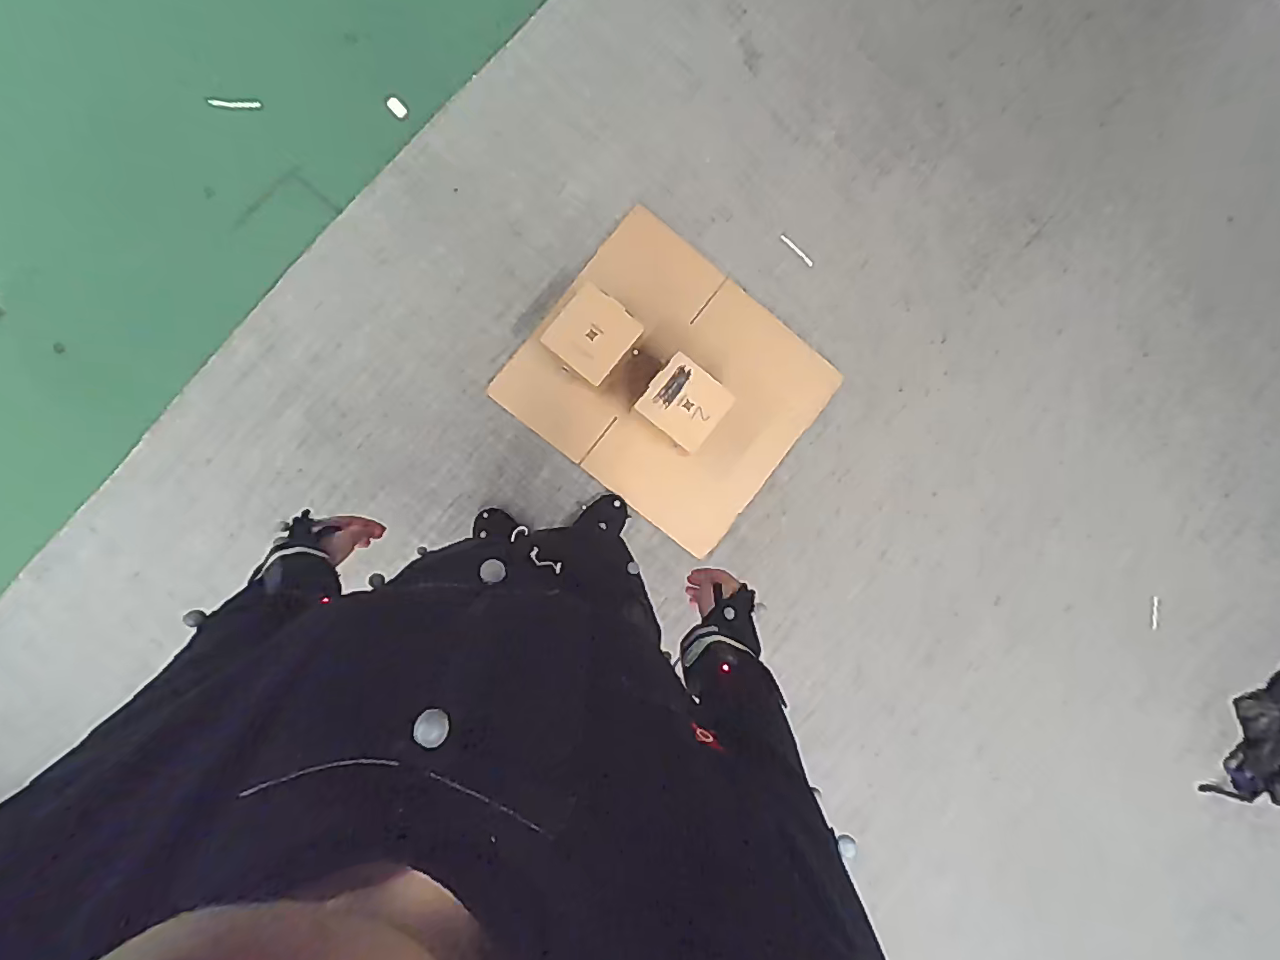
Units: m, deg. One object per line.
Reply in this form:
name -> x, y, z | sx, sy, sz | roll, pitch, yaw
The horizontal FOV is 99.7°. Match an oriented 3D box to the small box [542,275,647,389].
small box -> -0.107, -0.333, 1.257 | 0.168, 0.176, 0.179 | 39, 90, -4
